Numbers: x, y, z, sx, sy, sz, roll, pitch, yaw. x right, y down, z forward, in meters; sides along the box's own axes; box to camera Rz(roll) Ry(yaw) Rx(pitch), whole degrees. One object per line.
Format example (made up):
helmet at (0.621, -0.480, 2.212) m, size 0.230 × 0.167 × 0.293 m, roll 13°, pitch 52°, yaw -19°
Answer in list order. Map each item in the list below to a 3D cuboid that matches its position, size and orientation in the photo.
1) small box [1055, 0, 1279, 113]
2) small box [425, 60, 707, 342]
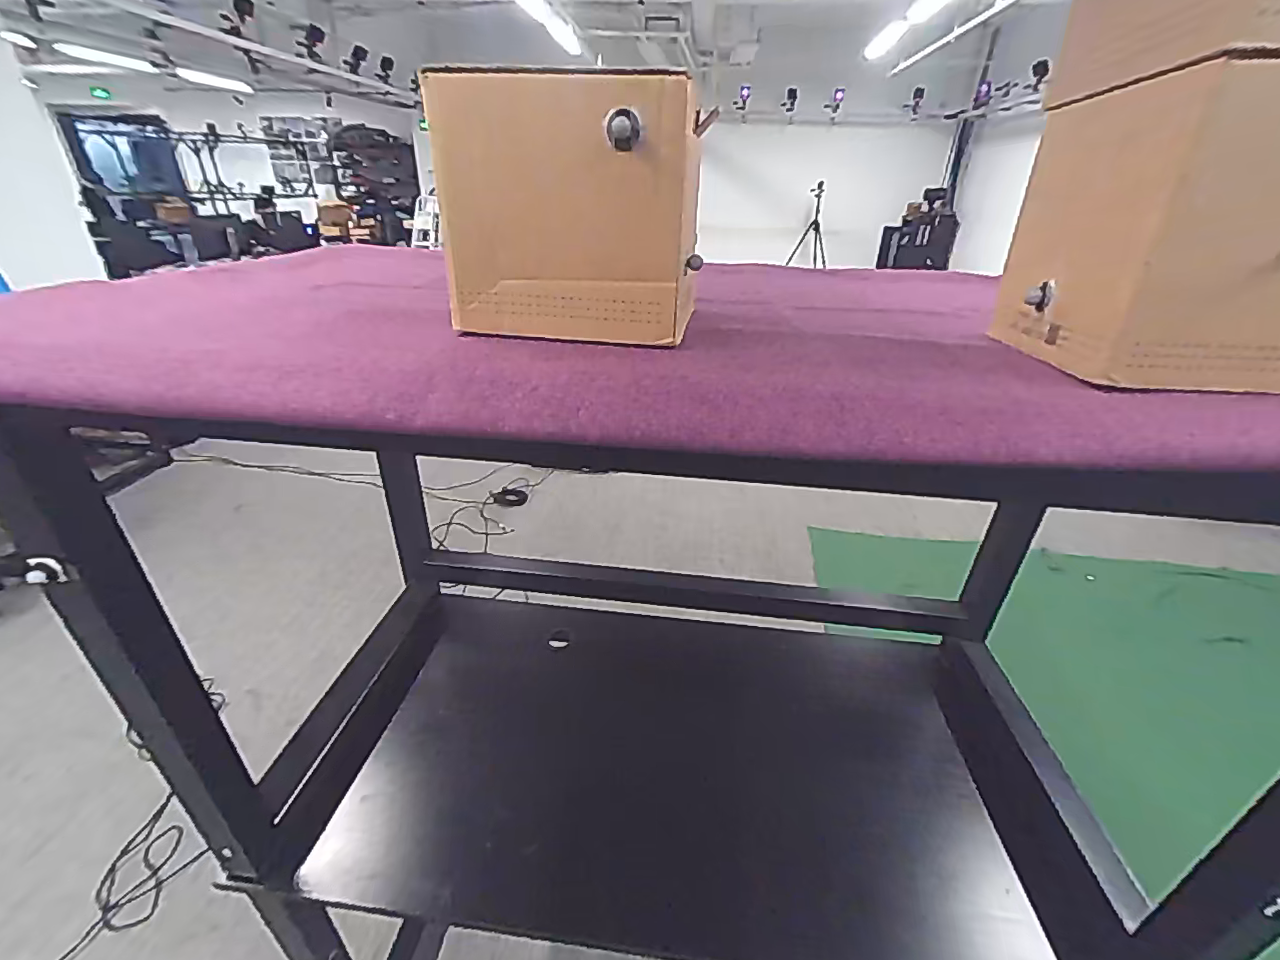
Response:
small box at (0.372, -0.308, 0.284) m, size 0.168 × 0.176 × 0.179 m, roll 4°, pitch 27°, yaw 7°
small box at (-0.043, -0.213, 0.435) m, size 0.179 × 0.176 × 0.168 m, roll 6°, pitch 28°, yaw 6°
